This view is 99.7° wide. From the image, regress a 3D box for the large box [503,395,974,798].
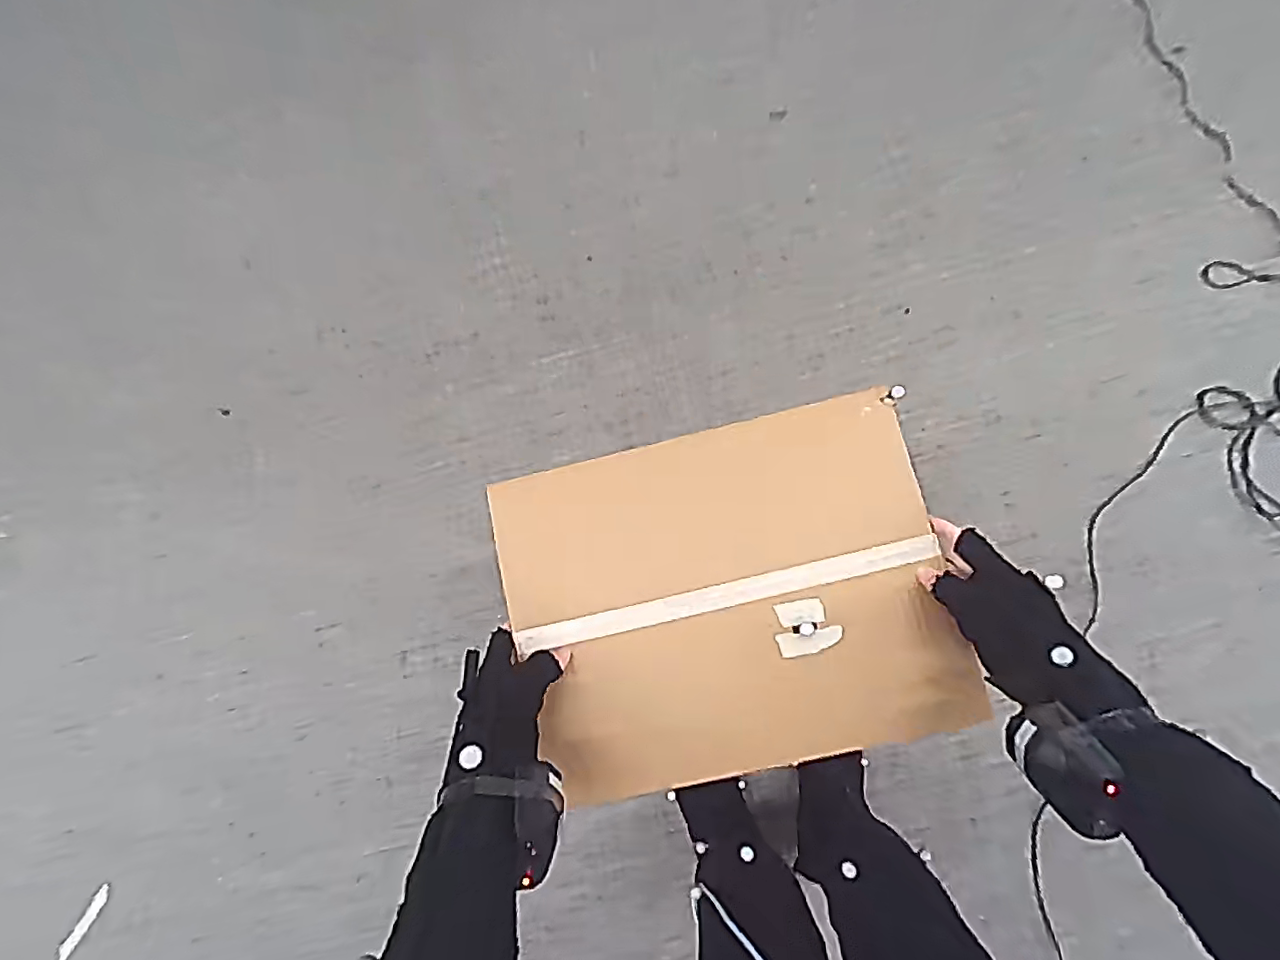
[{"bbox_3d":[0.094,0.133,0.677,0.408,0.320,0.320,-15,81,3],"label":"large box"}]
